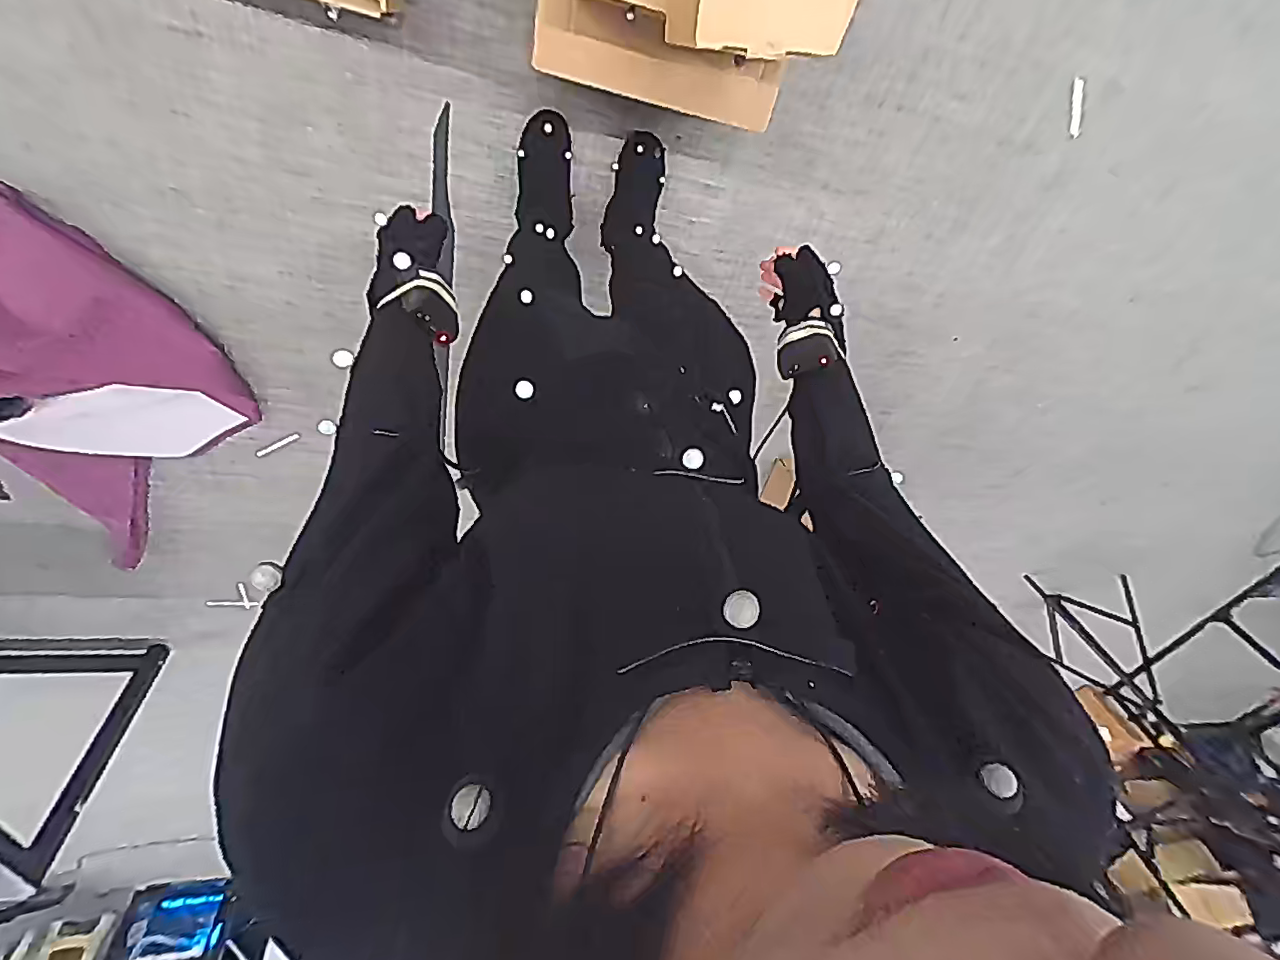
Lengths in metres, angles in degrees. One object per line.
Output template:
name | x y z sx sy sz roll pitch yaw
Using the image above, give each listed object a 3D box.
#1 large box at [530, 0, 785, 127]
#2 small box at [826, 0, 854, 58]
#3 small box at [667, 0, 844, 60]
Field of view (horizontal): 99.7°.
large box | 0.031 -0.836 0.910 0.408 0.320 0.320 3 129 -16
small box | 0.199 -0.708 0.732 0.168 0.176 0.179 8 126 -18
small box | 0.129 -0.590 0.600 0.168 0.176 0.179 -3 131 -10
